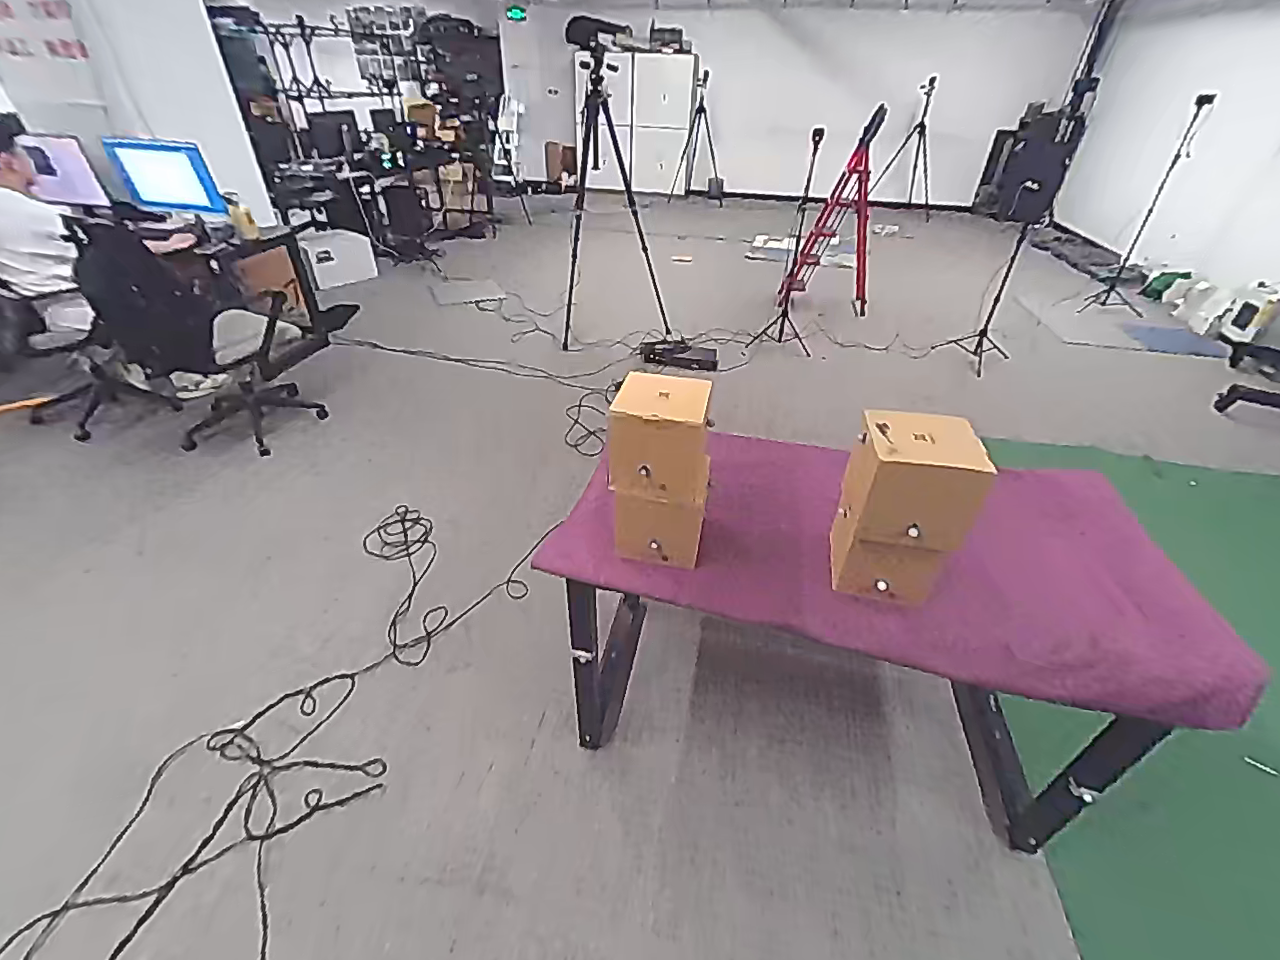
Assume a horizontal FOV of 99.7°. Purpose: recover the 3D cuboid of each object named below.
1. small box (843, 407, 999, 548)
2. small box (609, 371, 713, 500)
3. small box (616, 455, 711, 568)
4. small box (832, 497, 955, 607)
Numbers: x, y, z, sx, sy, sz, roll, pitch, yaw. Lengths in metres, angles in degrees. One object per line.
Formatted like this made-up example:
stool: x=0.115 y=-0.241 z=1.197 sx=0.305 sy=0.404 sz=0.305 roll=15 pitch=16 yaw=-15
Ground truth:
small box: x=0.464 y=-0.004 z=0.925 sx=0.179 sy=0.176 sz=0.168 roll=7 pitch=37 yaw=8
small box: x=0.039 y=-0.086 z=1.020 sx=0.168 sy=0.176 sz=0.179 roll=8 pitch=35 yaw=8
small box: x=0.048 y=0.052 z=1.106 sx=0.168 sy=0.176 sz=0.179 roll=7 pitch=35 yaw=9
small box: x=0.474 y=0.113 z=1.042 sx=0.168 sy=0.176 sz=0.179 roll=9 pitch=37 yaw=11
